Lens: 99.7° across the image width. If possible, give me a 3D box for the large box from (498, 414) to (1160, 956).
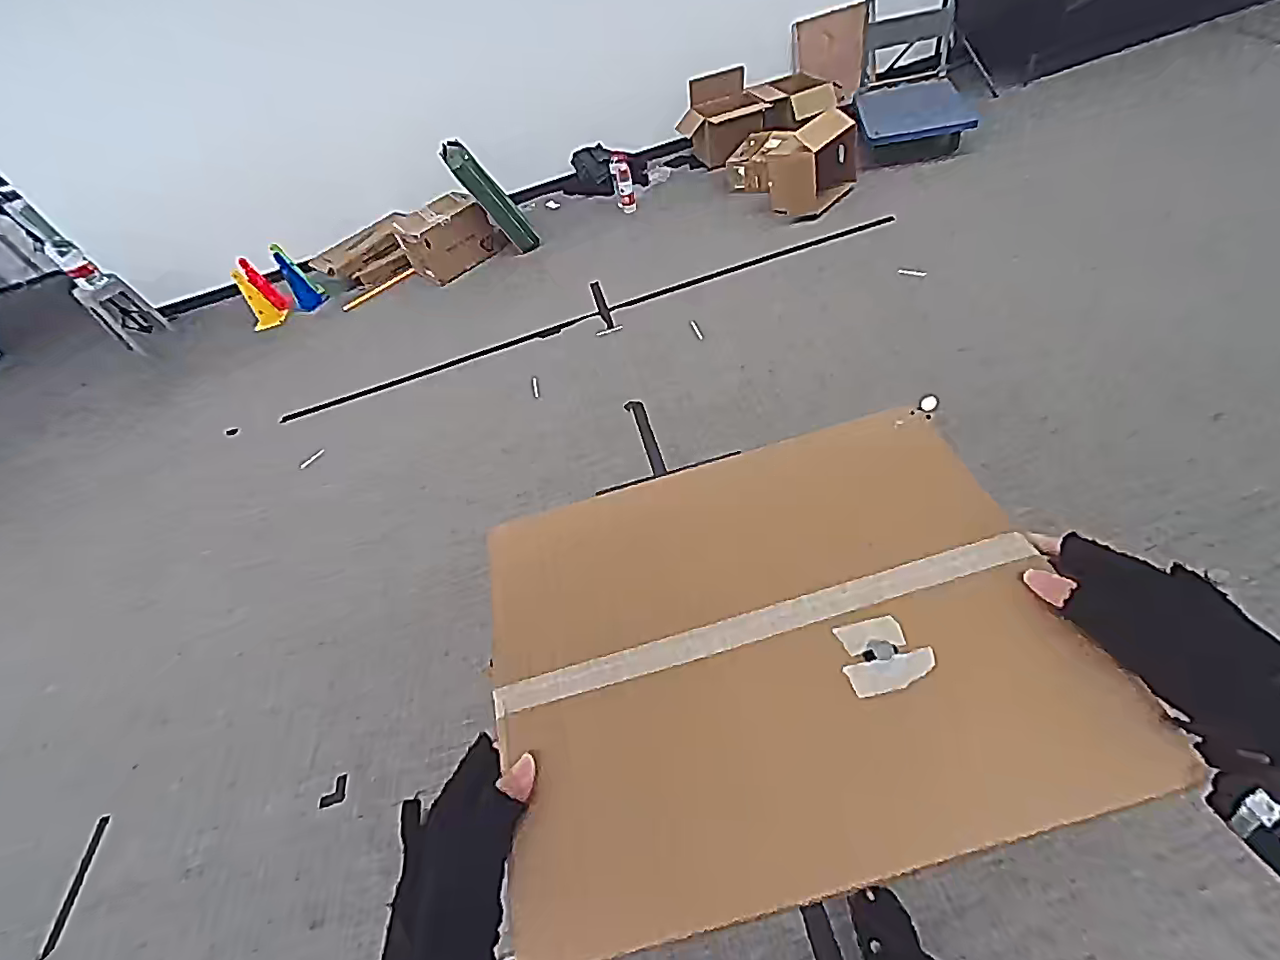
[{"bbox_3d":[0.116,0.197,0.529,0.408,0.320,0.320,-17,53,0],"label":"large box"}]
